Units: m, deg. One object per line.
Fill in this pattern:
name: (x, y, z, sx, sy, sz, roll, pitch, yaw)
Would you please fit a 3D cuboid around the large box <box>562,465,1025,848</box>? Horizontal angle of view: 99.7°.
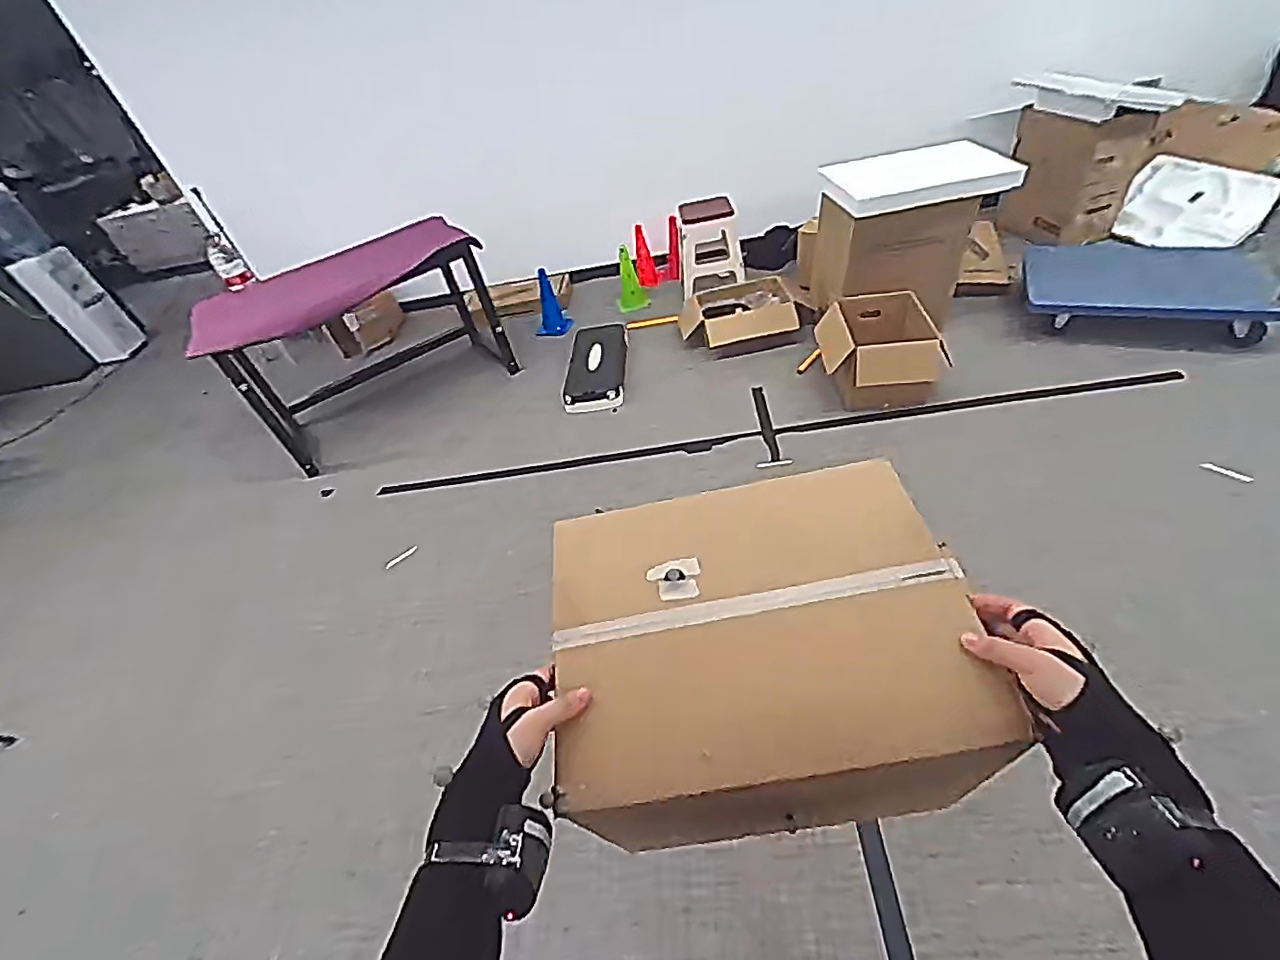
large box: (0.144, 0.231, 0.670, 0.408, 0.320, 0.320, -12, 48, 5)
